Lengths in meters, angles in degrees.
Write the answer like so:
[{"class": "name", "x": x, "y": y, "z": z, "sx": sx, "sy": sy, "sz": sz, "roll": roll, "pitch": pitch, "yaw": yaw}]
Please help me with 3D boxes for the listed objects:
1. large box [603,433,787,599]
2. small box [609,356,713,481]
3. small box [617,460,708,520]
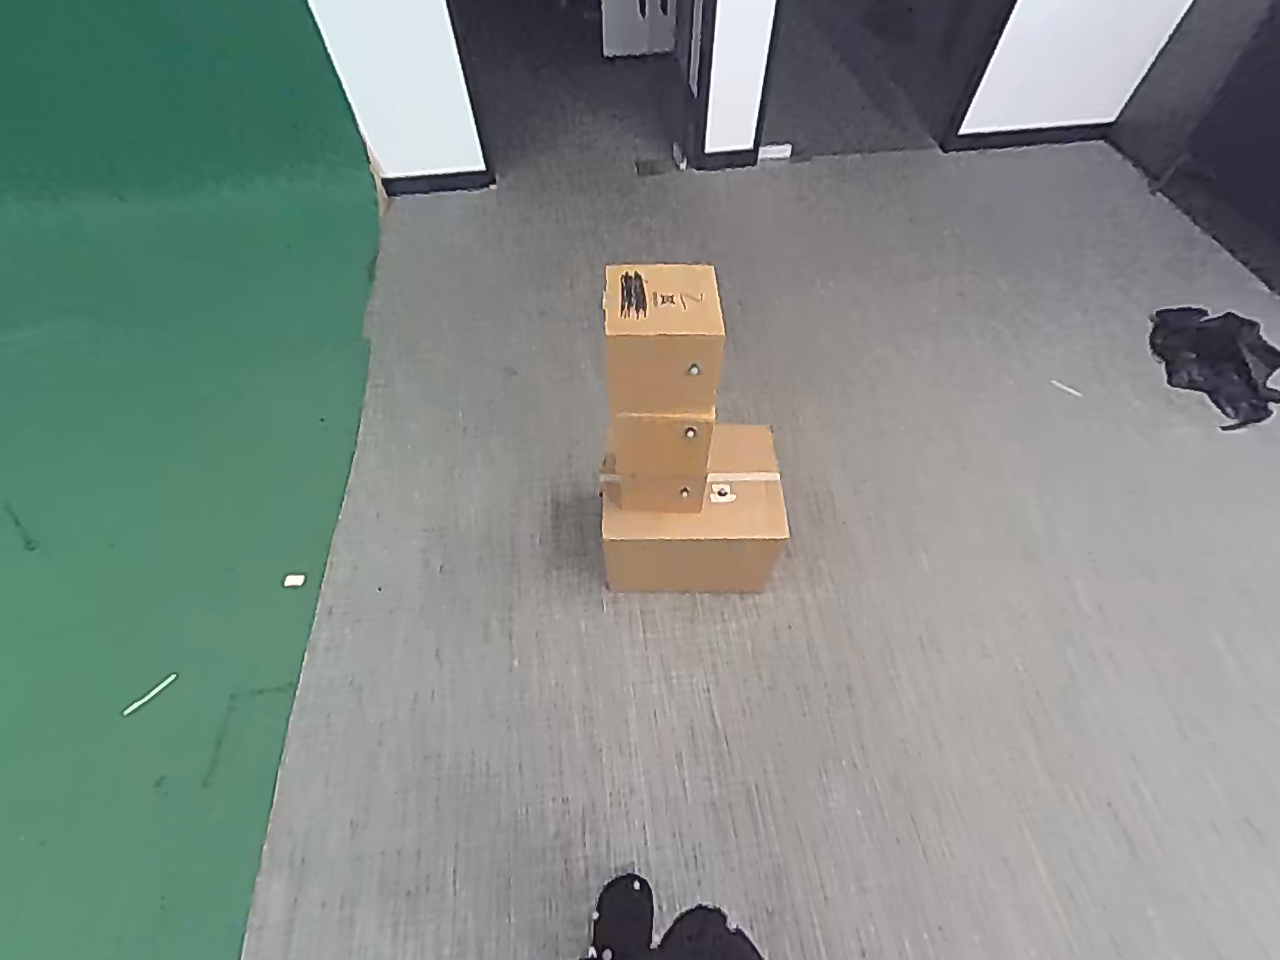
[{"class": "large box", "x": 0.111, "y": 0.097, "z": 1.355, "sx": 0.408, "sy": 0.320, "sz": 0.320, "roll": 0, "pitch": 57, "yaw": -1}, {"class": "small box", "x": 0.037, "y": -0.111, "z": 1.007, "sx": 0.179, "sy": 0.176, "sz": 0.168, "roll": 2, "pitch": 55, "yaw": 0}, {"class": "small box", "x": 0.043, "y": -0.026, "z": 1.146, "sx": 0.179, "sy": 0.176, "sz": 0.168, "roll": -1, "pitch": 55, "yaw": 0}]
